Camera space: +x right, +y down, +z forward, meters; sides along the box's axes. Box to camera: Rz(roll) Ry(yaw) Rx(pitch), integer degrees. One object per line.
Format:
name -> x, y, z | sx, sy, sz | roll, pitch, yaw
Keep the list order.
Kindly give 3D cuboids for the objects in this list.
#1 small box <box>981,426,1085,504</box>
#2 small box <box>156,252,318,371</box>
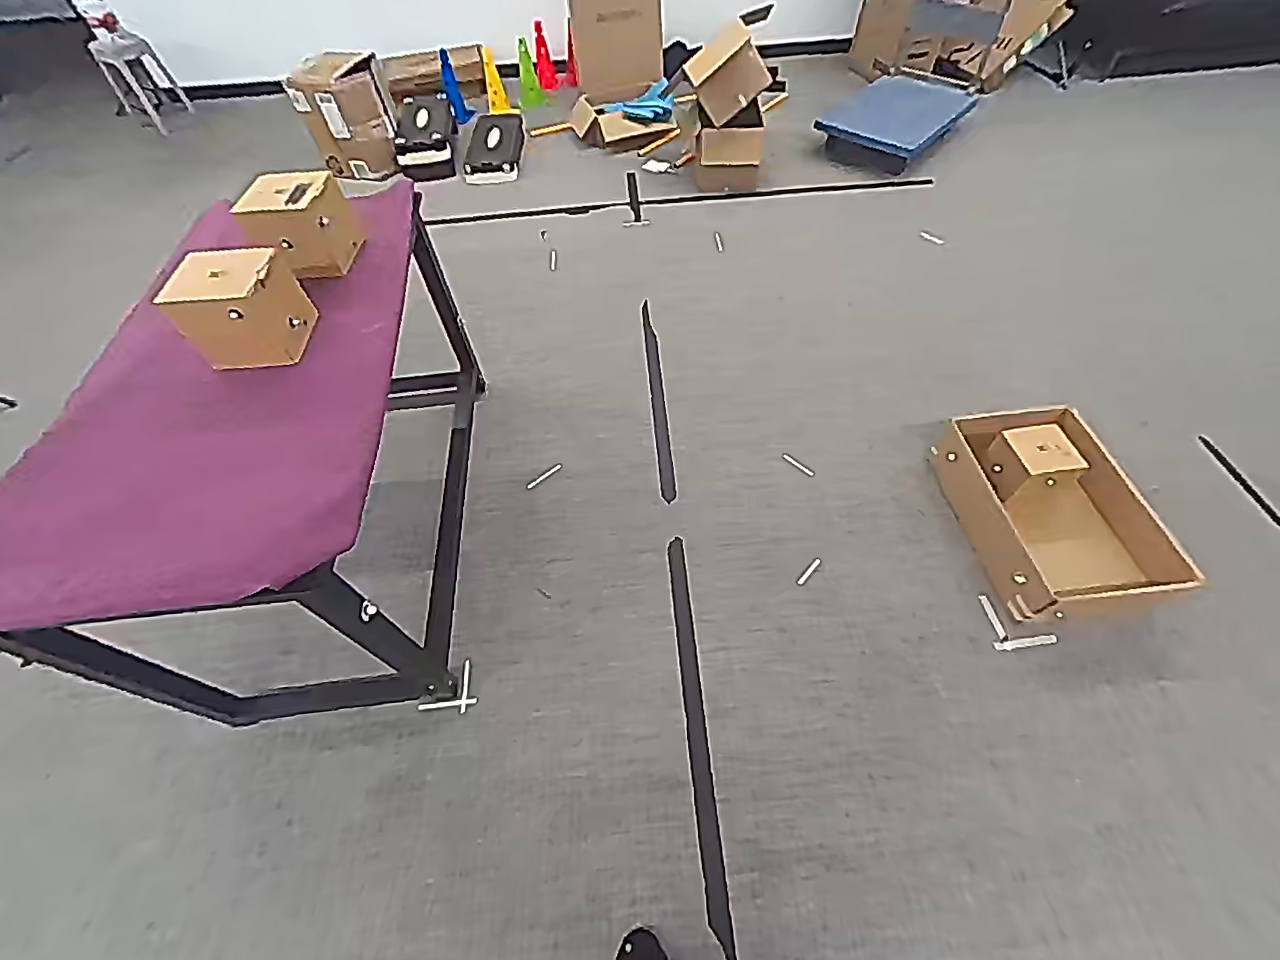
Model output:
small box -> 1.175, -0.041, 1.641 | 0.179, 0.176, 0.168 | -8, 55, -3
small box -> -0.804, -0.338, 1.102 | 0.179, 0.176, 0.168 | -4, 54, -1
